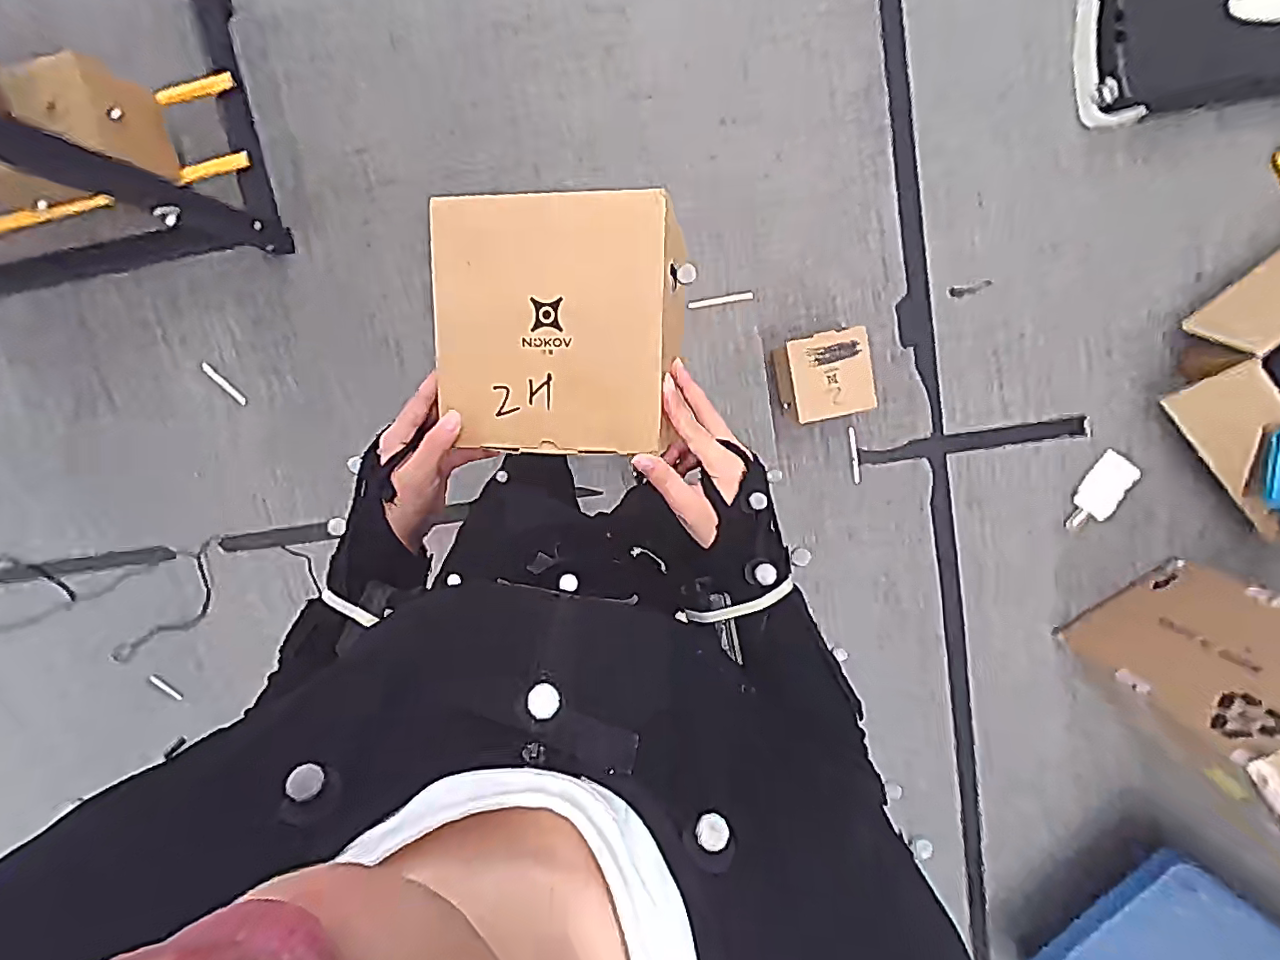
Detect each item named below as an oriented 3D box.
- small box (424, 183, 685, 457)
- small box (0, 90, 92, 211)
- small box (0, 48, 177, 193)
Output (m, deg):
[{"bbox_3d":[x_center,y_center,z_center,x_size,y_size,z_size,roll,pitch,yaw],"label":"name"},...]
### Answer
[{"bbox_3d":[-0.053,-0.117,0.441,0.168,0.176,0.179,2,100,9],"label":"small box"},{"bbox_3d":[-1.303,-0.680,1.107,0.168,0.176,0.179,-9,101,6],"label":"small box"},{"bbox_3d":[-1.099,-0.710,1.088,0.168,0.176,0.179,-9,101,6],"label":"small box"}]
